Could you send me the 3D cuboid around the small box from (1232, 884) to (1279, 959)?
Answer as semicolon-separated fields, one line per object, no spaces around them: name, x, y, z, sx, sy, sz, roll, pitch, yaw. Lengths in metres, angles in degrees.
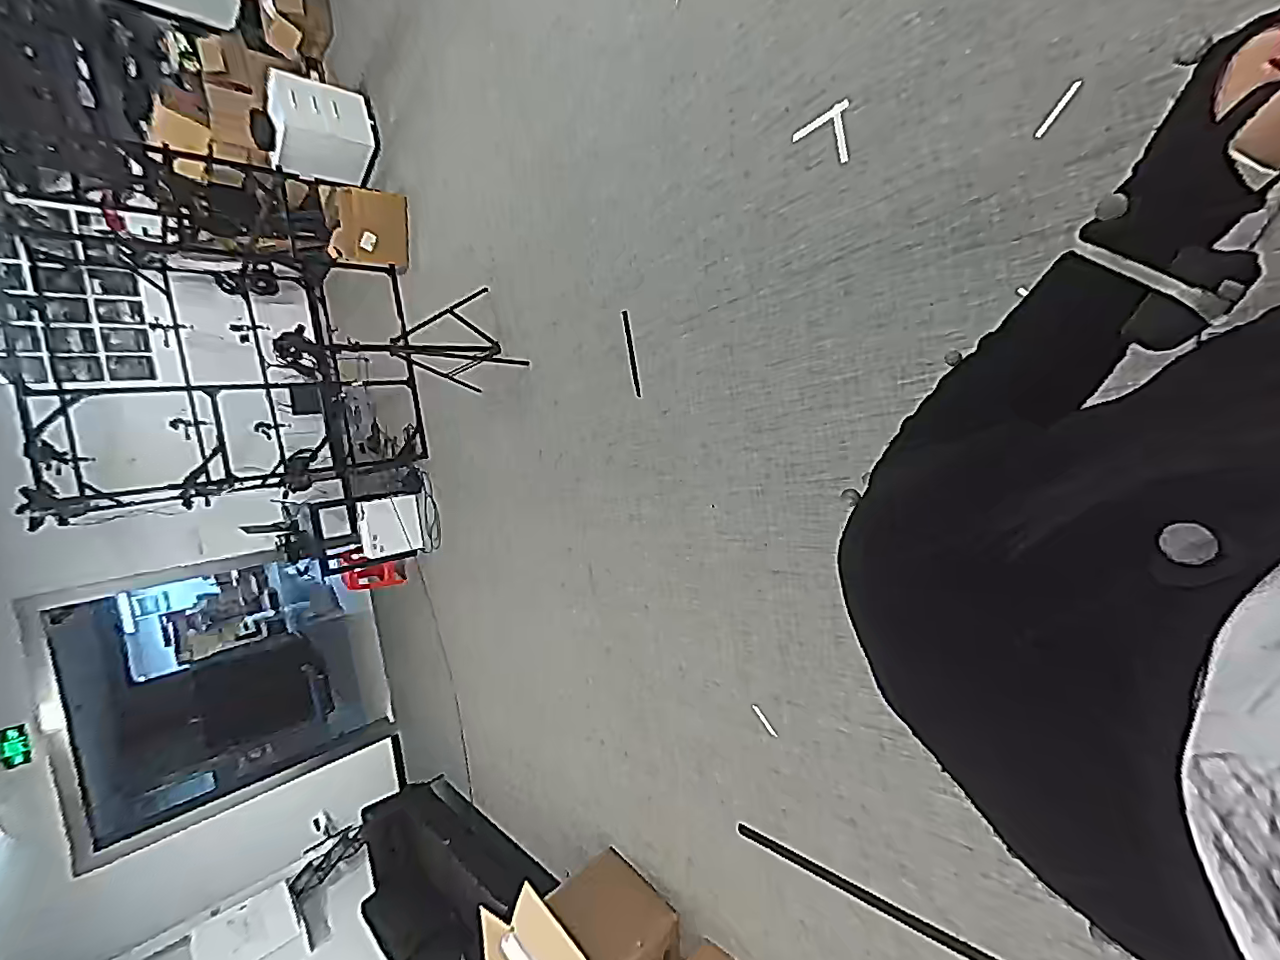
small box;1.250;0.922;1.020;0.179;0.176;0.168;-1;98;50
